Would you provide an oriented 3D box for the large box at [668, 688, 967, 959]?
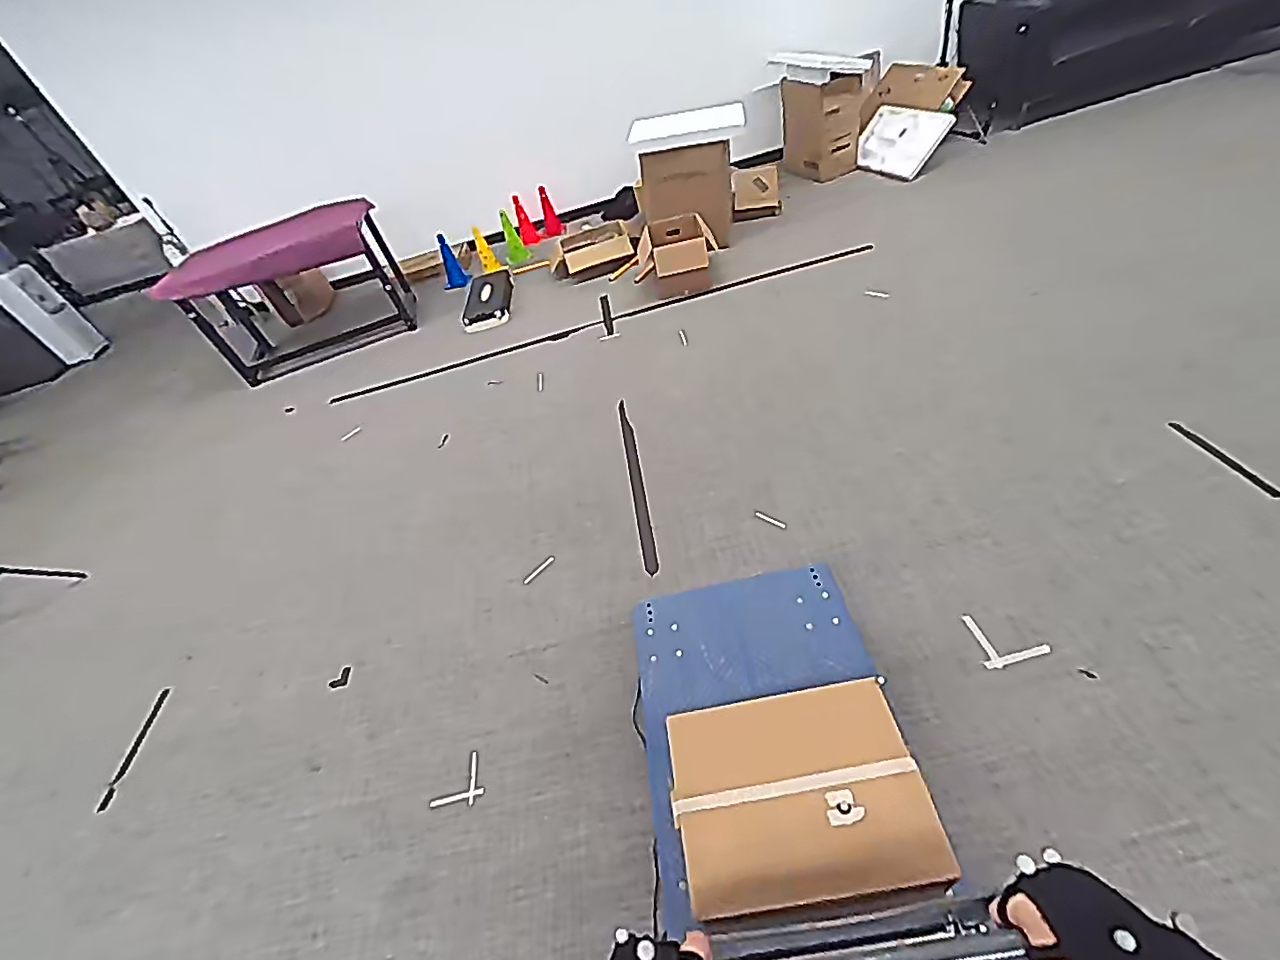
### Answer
[{"bbox_3d":[0.288,0.631,0.989,0.408,0.320,0.320,-12,44,3],"label":"large box"}]
